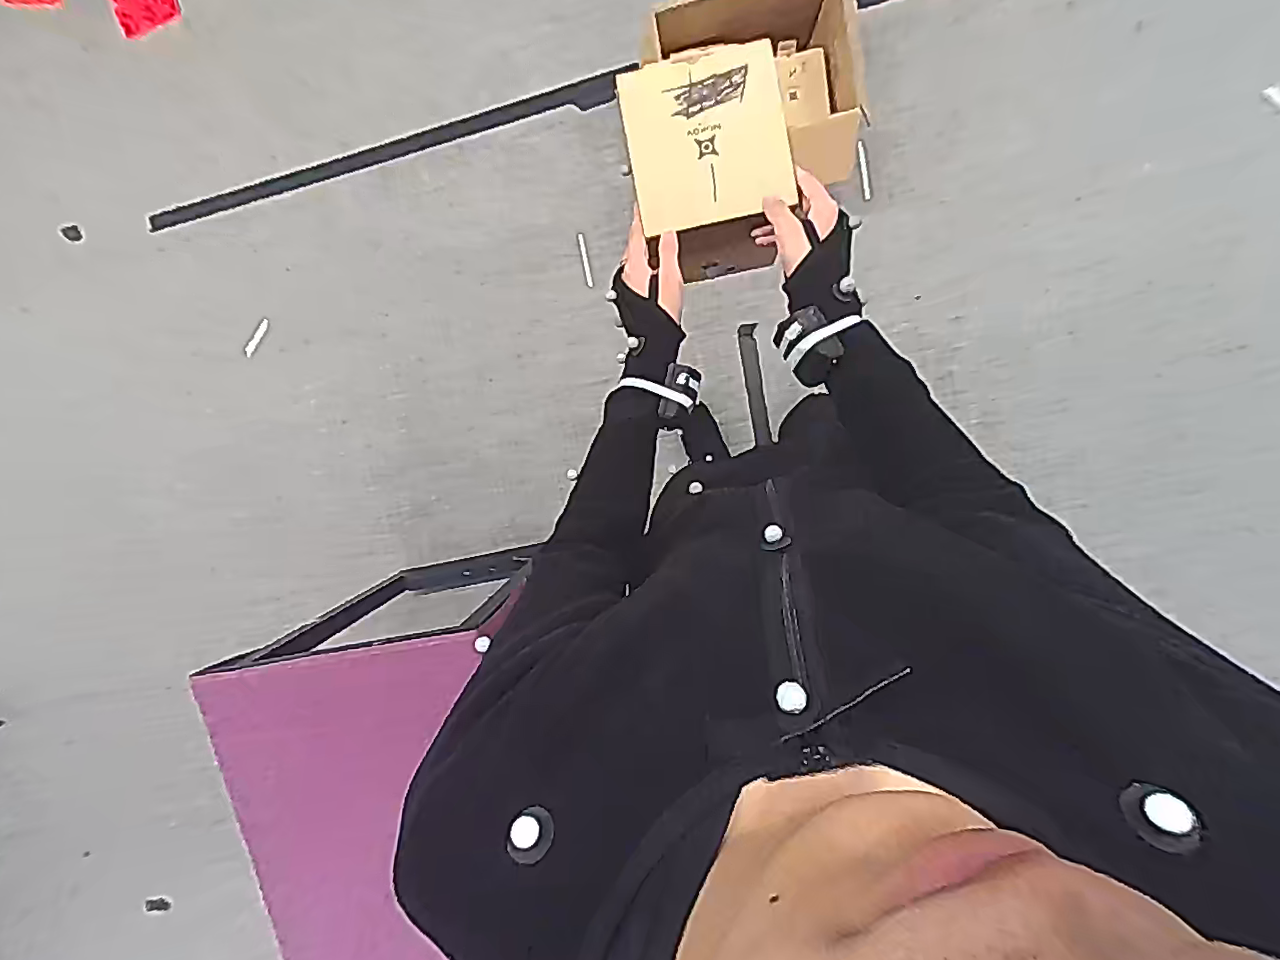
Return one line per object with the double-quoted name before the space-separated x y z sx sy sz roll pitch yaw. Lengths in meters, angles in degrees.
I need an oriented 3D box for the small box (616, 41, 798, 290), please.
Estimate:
"small box" 0.074 -0.351 0.637 0.168 0.176 0.179 -11 90 6
